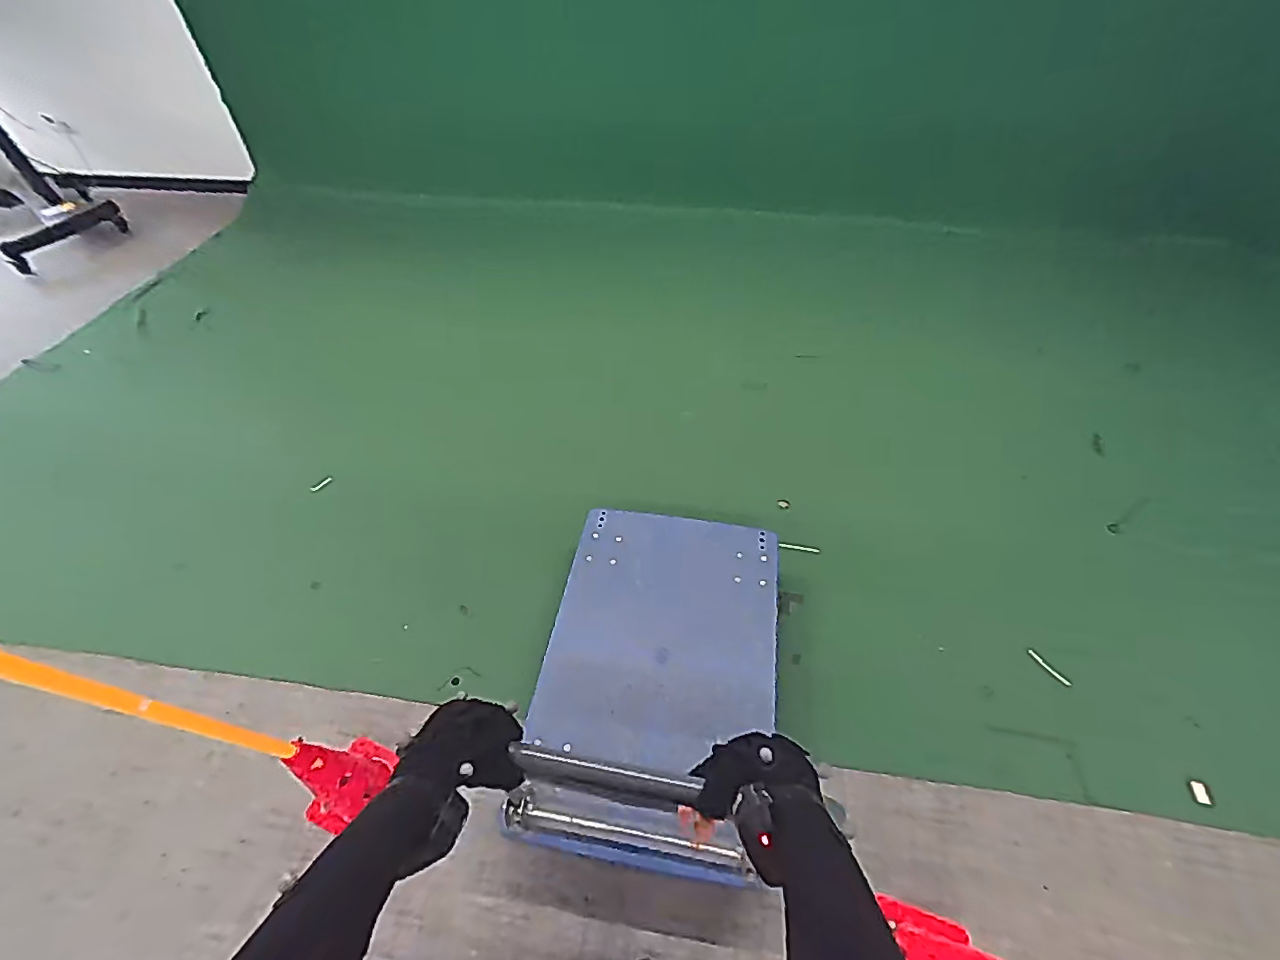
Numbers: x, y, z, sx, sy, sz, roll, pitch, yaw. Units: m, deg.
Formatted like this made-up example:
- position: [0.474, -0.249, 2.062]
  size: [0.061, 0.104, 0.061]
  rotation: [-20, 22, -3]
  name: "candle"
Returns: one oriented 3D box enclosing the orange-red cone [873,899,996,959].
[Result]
- position: [0.567, 0.882, 0.961]
  size: [0.198, 0.360, 0.199]
  rotation: [14, 51, 13]
  name: "orange-red cone"
